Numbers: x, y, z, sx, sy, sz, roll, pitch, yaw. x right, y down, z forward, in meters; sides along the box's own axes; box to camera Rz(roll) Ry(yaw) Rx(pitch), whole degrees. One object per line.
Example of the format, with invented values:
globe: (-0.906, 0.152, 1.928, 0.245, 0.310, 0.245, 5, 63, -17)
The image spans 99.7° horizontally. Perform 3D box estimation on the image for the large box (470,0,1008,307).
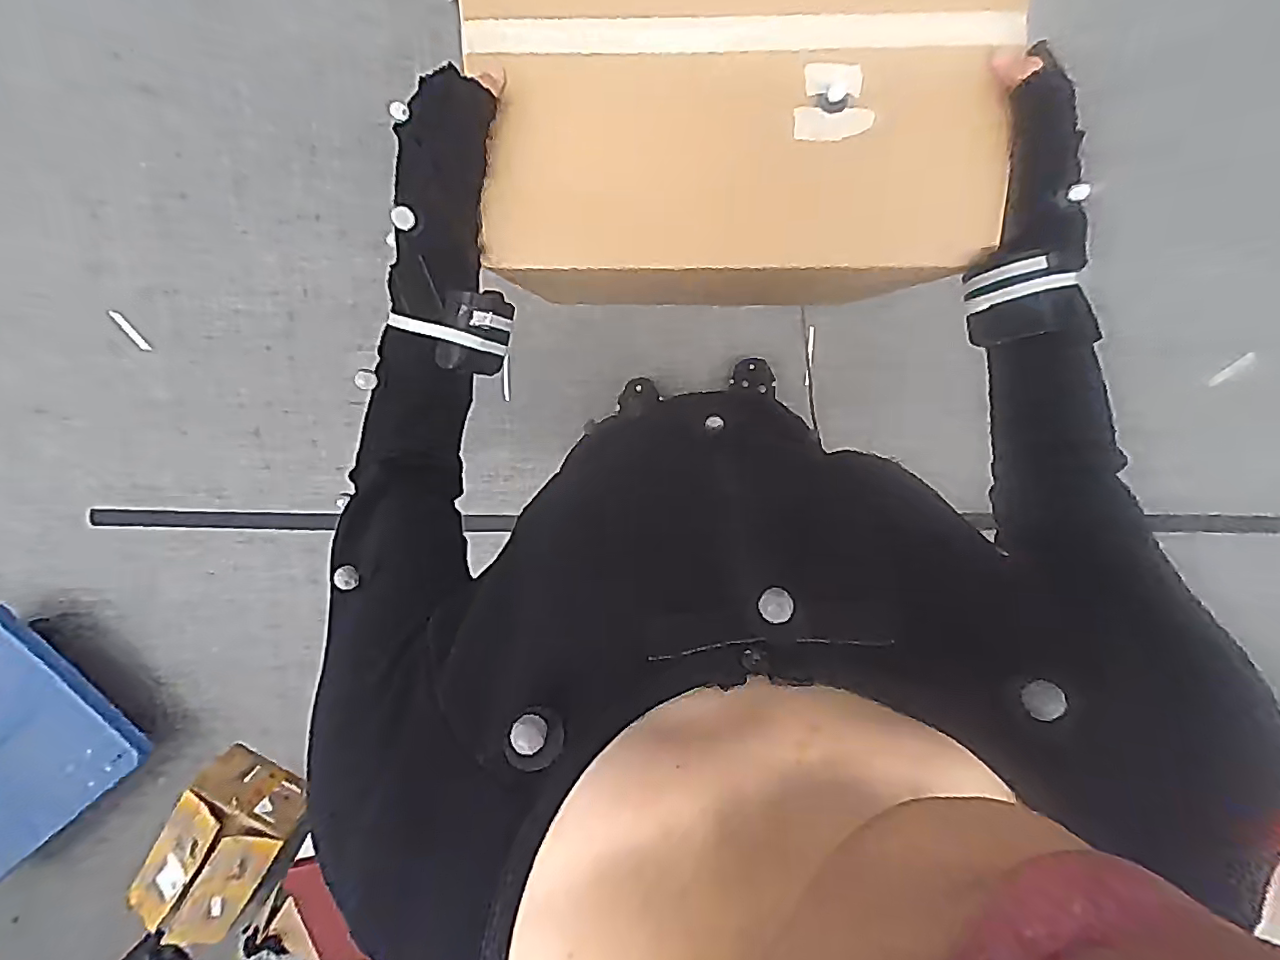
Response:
large box: (0.072, -0.358, 0.551, 0.408, 0.320, 0.320, 0, 103, 0)
